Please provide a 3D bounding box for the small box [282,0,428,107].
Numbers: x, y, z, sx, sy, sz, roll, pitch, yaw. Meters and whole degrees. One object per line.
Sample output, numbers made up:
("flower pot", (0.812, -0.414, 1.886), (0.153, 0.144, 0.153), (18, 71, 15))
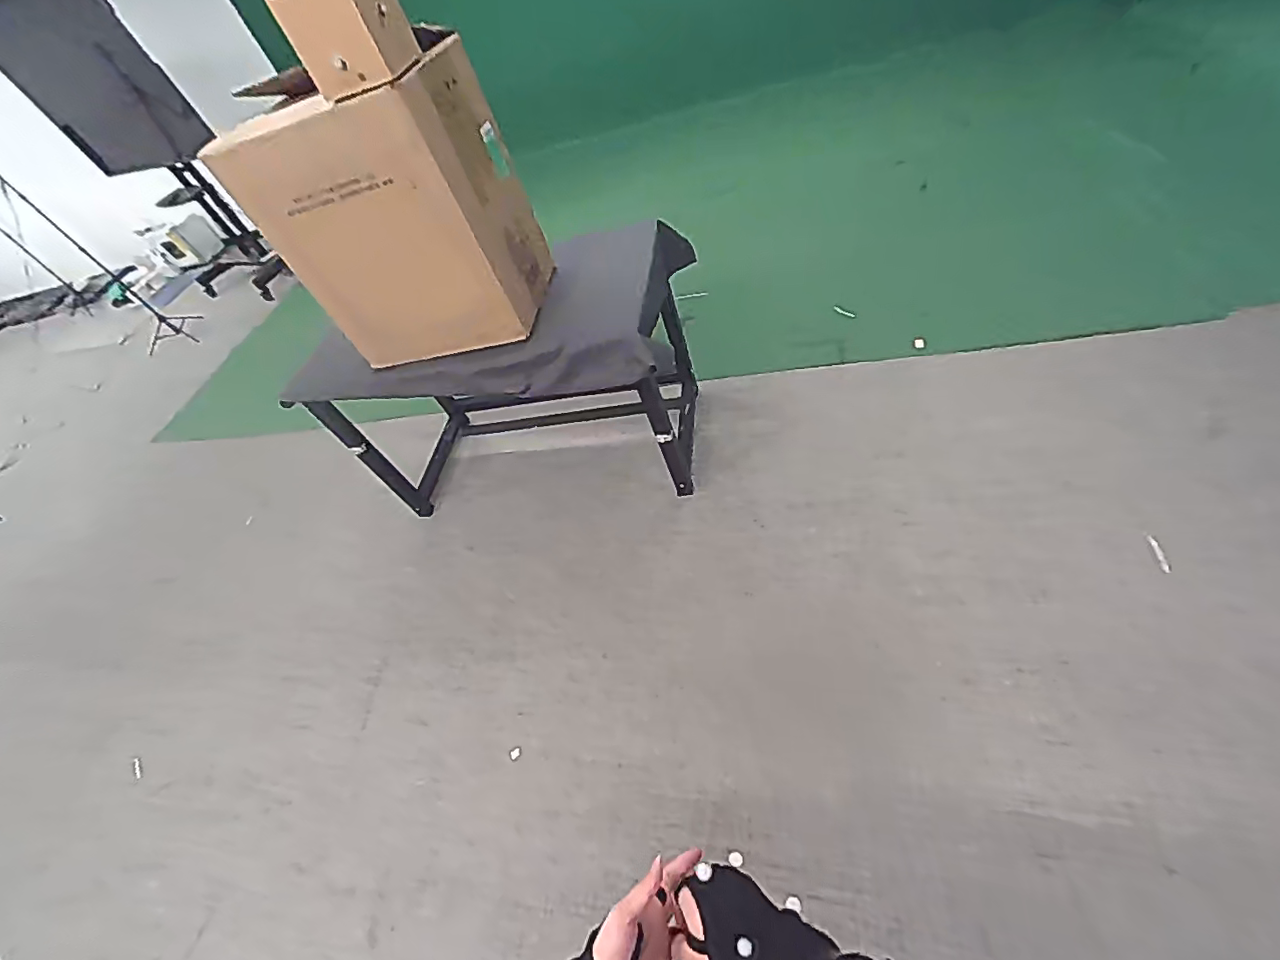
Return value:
("small box", (-0.557, -0.887, 1.088), (0.168, 0.176, 0.179), (-6, 51, 15))
